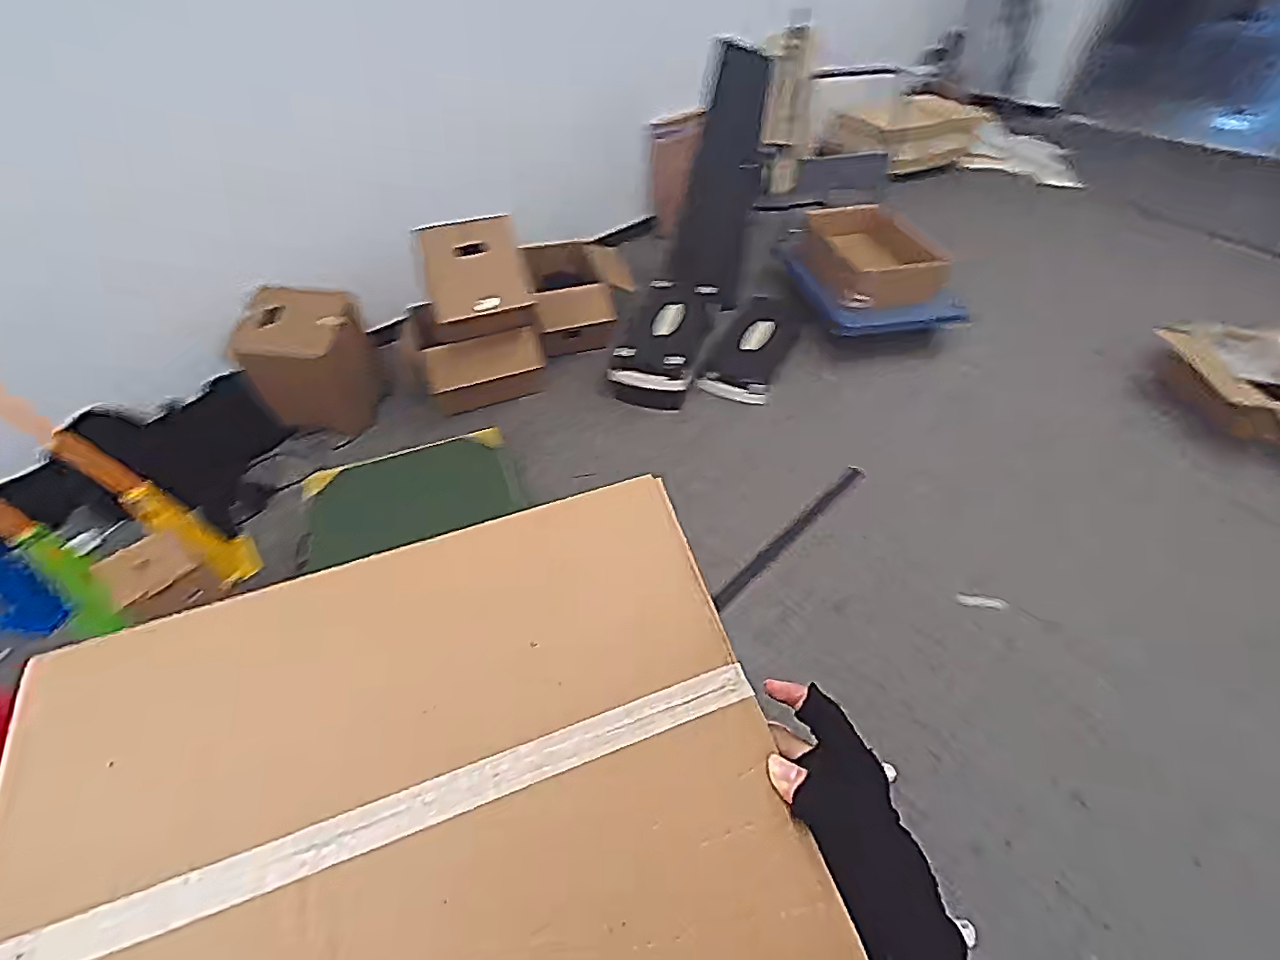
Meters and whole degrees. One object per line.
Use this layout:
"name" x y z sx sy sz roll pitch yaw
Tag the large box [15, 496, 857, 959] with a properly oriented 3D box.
"large box" -0.120 0.263 0.429 0.408 0.320 0.320 -16 60 -9
